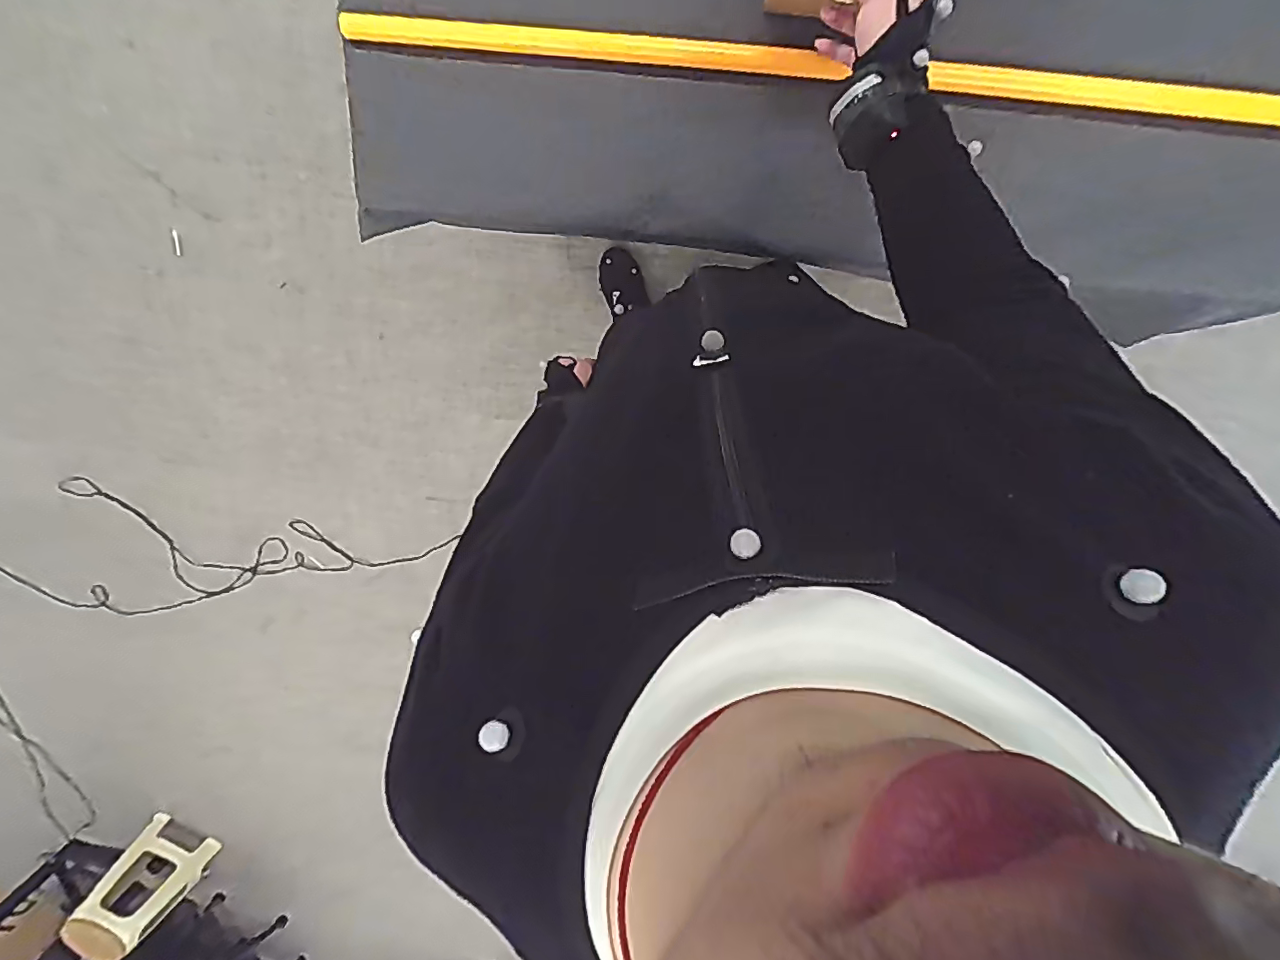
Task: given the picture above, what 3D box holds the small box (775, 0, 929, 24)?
[{"bbox_3d":[0.225,-0.573,0.517,0.168,0.176,0.179,7,113,8],"label":"small box"}]
